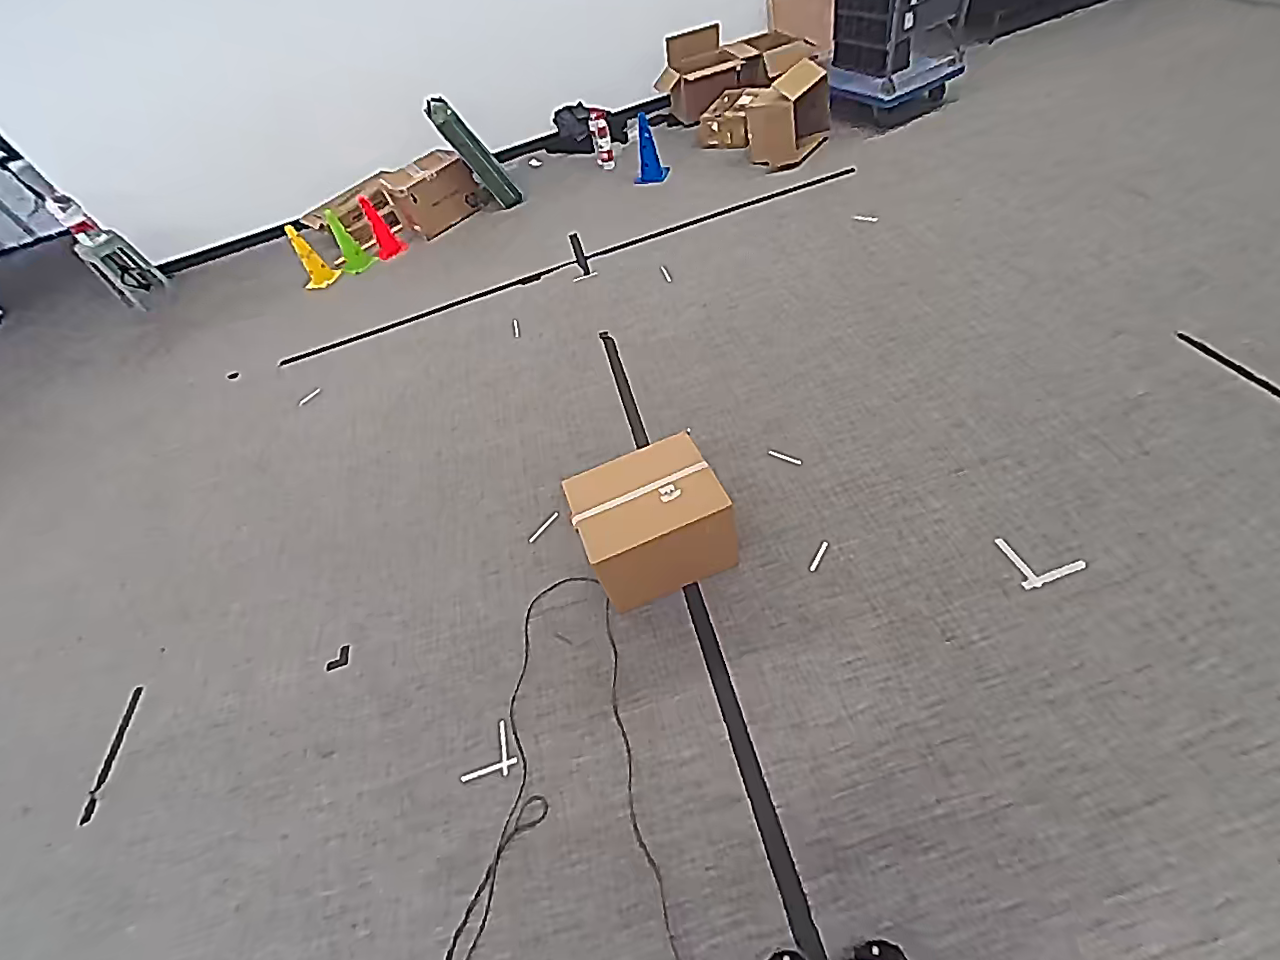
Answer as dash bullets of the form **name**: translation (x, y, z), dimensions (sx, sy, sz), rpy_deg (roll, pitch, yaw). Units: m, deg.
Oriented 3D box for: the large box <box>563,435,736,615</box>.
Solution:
- **large box**: translation (0.034, 0.137, 1.608), dimensions (0.408, 0.320, 0.320), rpy_deg (-22, 50, -5)
